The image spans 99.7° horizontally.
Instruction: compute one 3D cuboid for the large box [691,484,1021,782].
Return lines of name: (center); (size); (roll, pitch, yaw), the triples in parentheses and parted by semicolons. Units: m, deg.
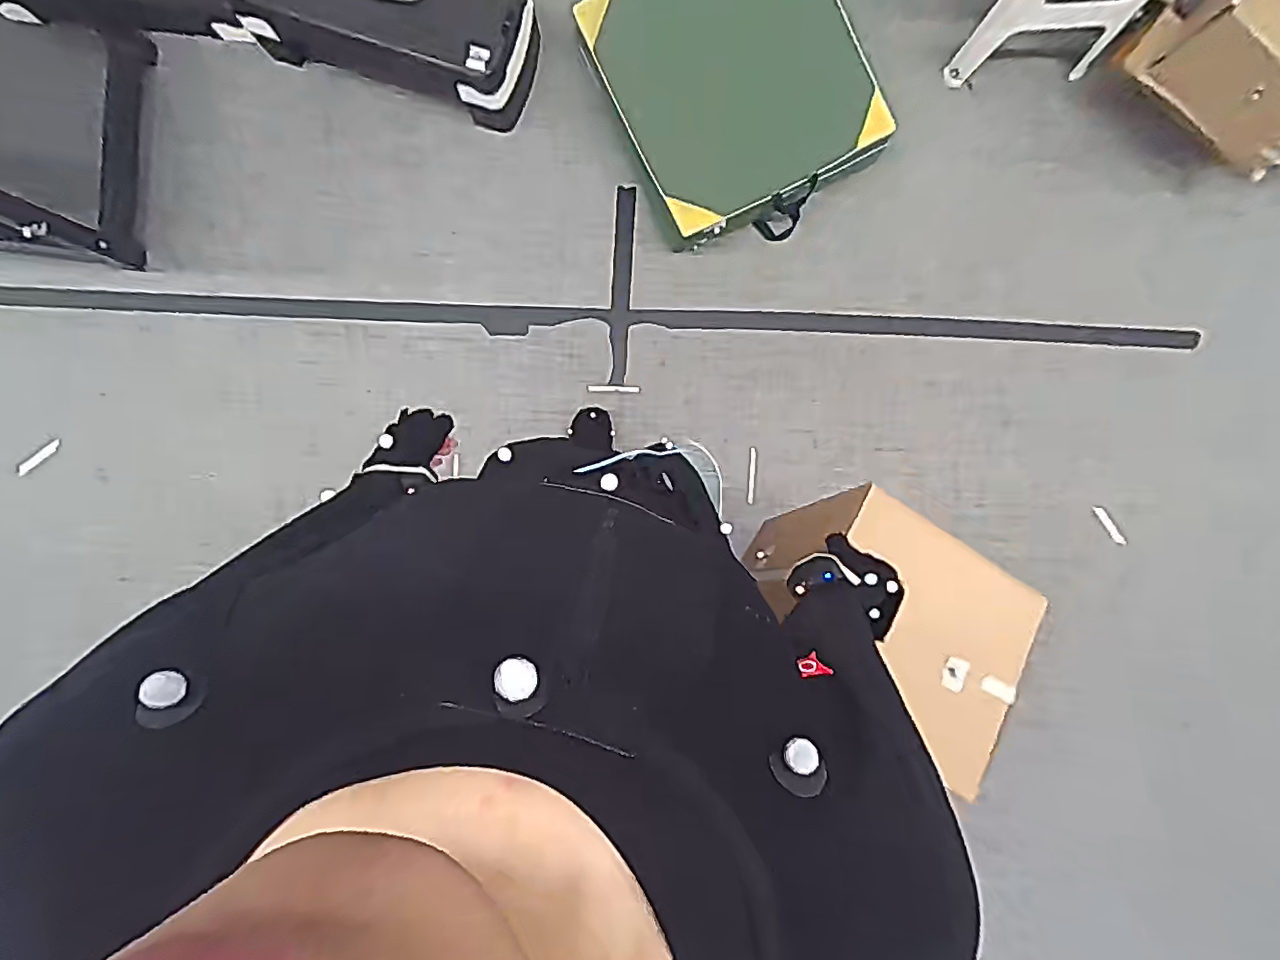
large box: (0.340, 0.252, 0.947); (0.320, 0.408, 0.320); (35, 74, -1)
